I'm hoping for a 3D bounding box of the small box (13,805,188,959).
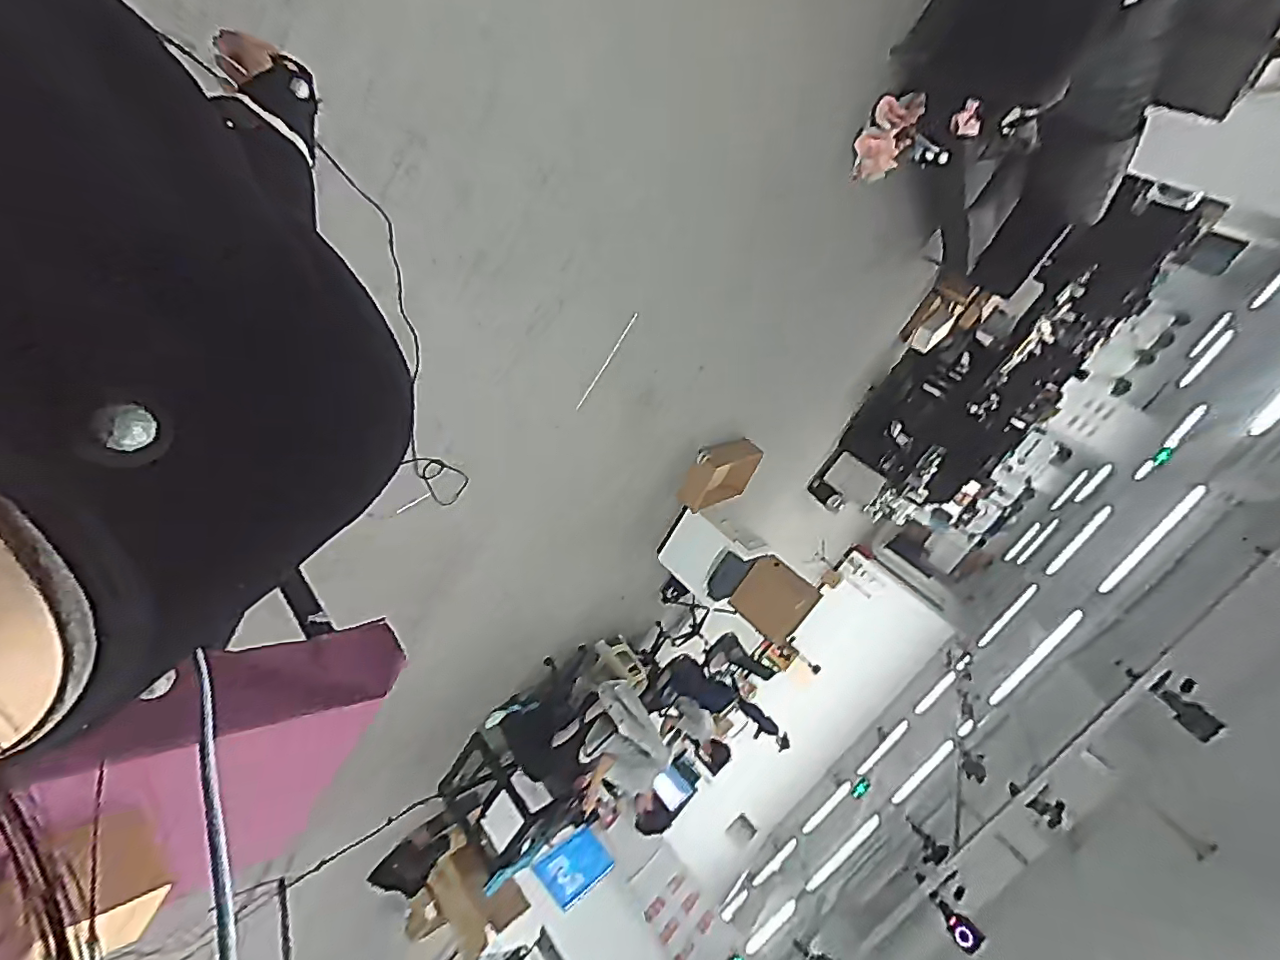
[{"bbox_3d":[-0.965,0.732,0.965,0.168,0.176,0.179,-55,152,13],"label":"small box"}]
